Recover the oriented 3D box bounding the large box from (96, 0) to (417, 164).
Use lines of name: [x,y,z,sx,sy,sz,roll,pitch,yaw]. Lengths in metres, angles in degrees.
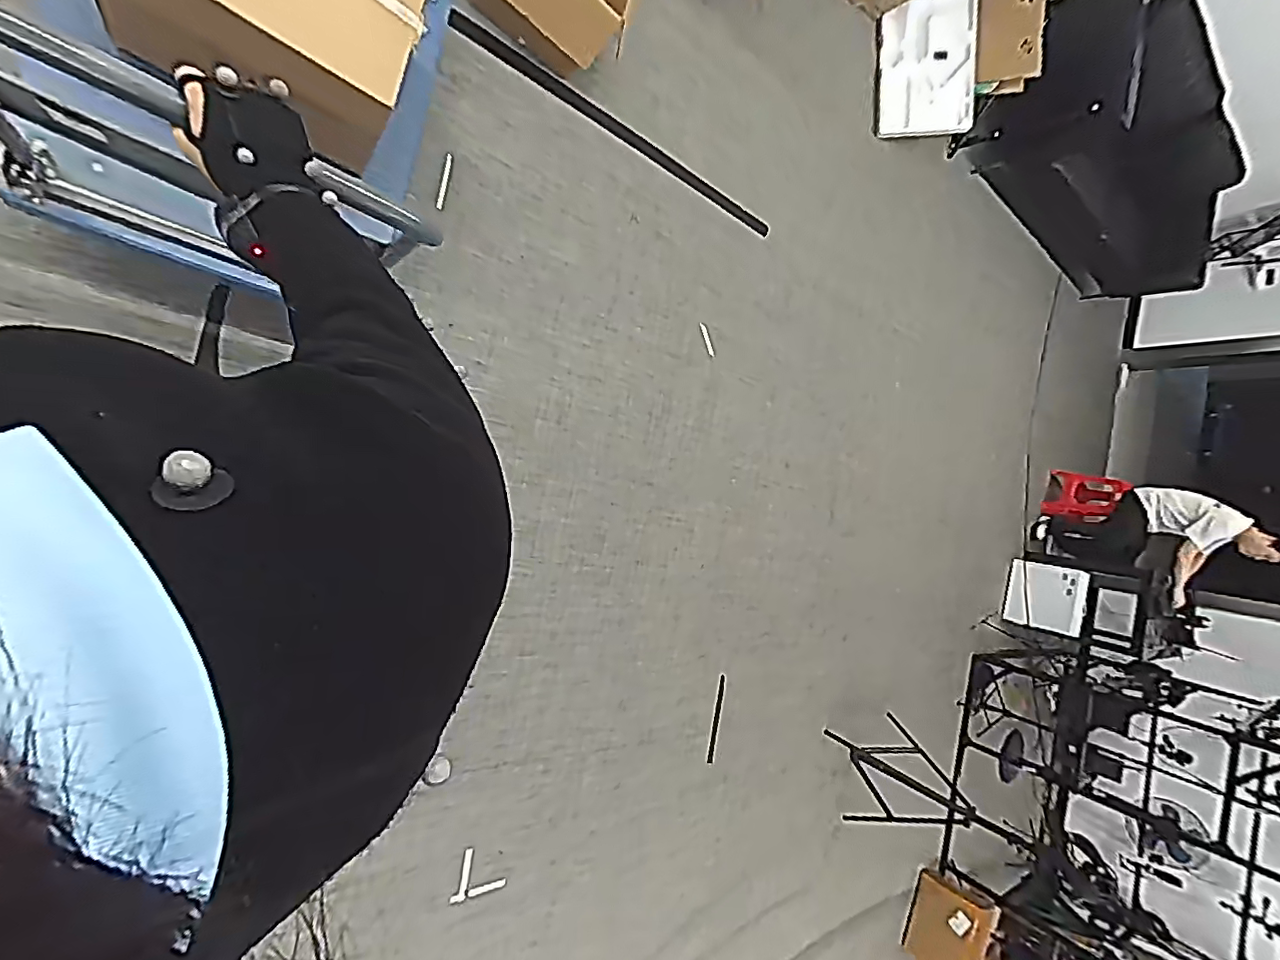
large box: [-0.626,-0.839,0.920,0.408,0.320,0.320,17,84,-36]
